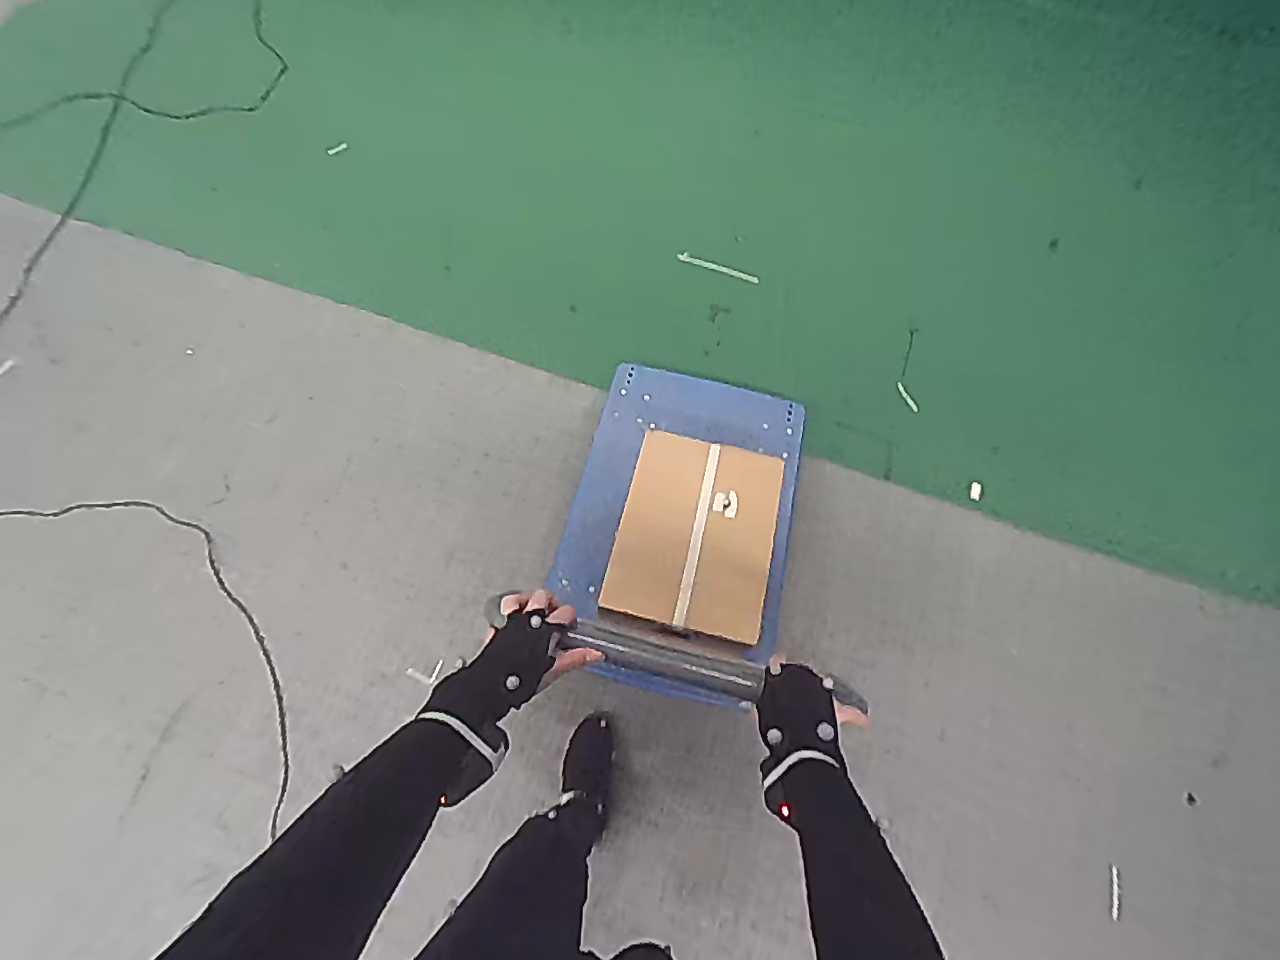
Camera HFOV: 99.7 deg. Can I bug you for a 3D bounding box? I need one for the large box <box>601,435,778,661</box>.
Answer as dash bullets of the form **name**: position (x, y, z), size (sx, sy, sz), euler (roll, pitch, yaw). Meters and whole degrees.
- **large box**: position (0.107, 0.168, 1.249), size (0.320, 0.320, 0.408), euler (14, 65, 2)
